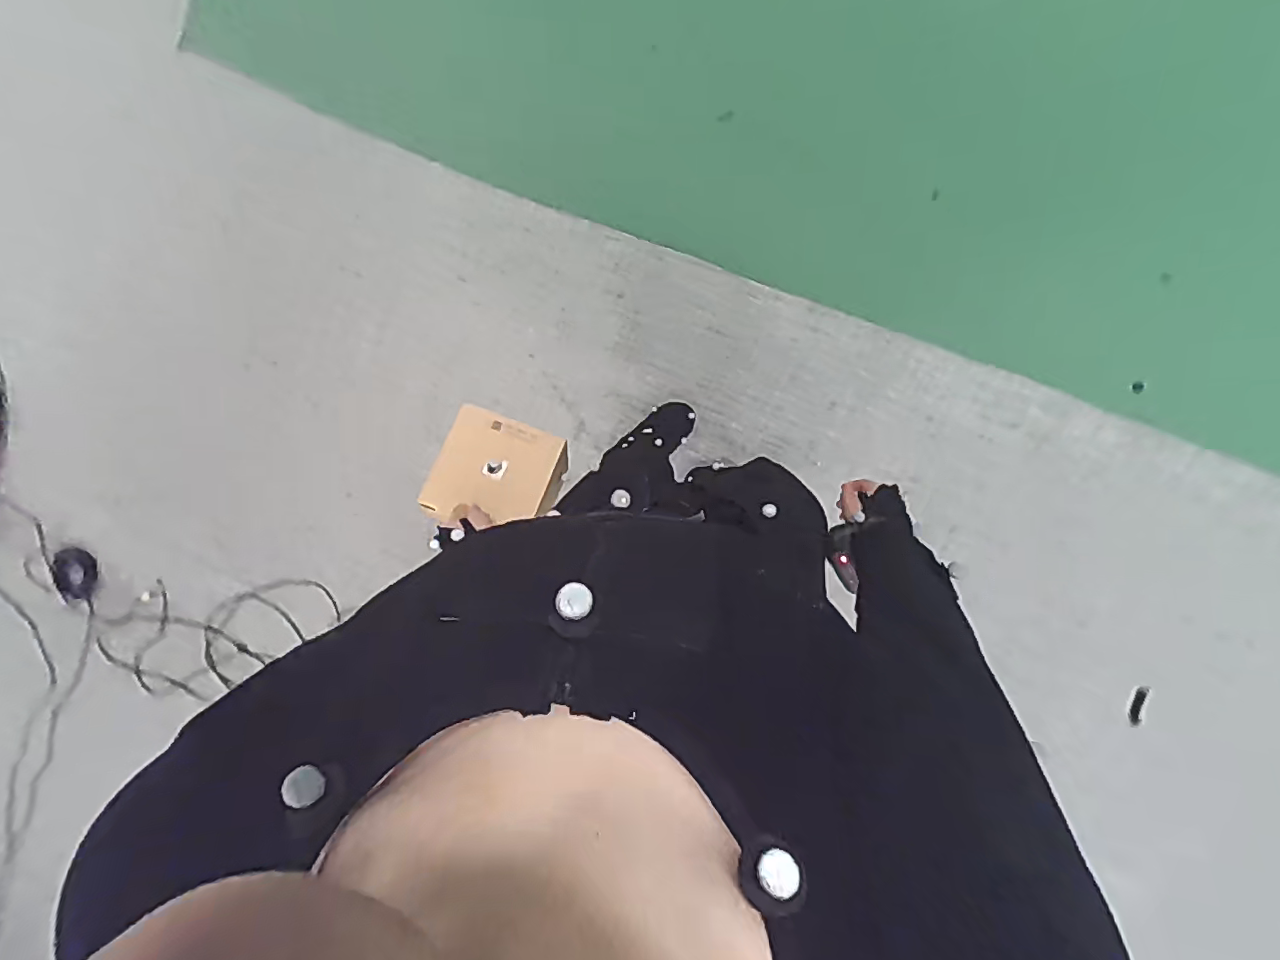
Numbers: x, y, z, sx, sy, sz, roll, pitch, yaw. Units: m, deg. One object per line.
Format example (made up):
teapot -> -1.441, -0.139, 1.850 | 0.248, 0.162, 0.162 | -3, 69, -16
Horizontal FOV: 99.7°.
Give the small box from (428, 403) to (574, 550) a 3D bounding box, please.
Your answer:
small box -> -0.212, -0.002, 0.871 | 0.168, 0.179, 0.176 | 20, 74, -1
